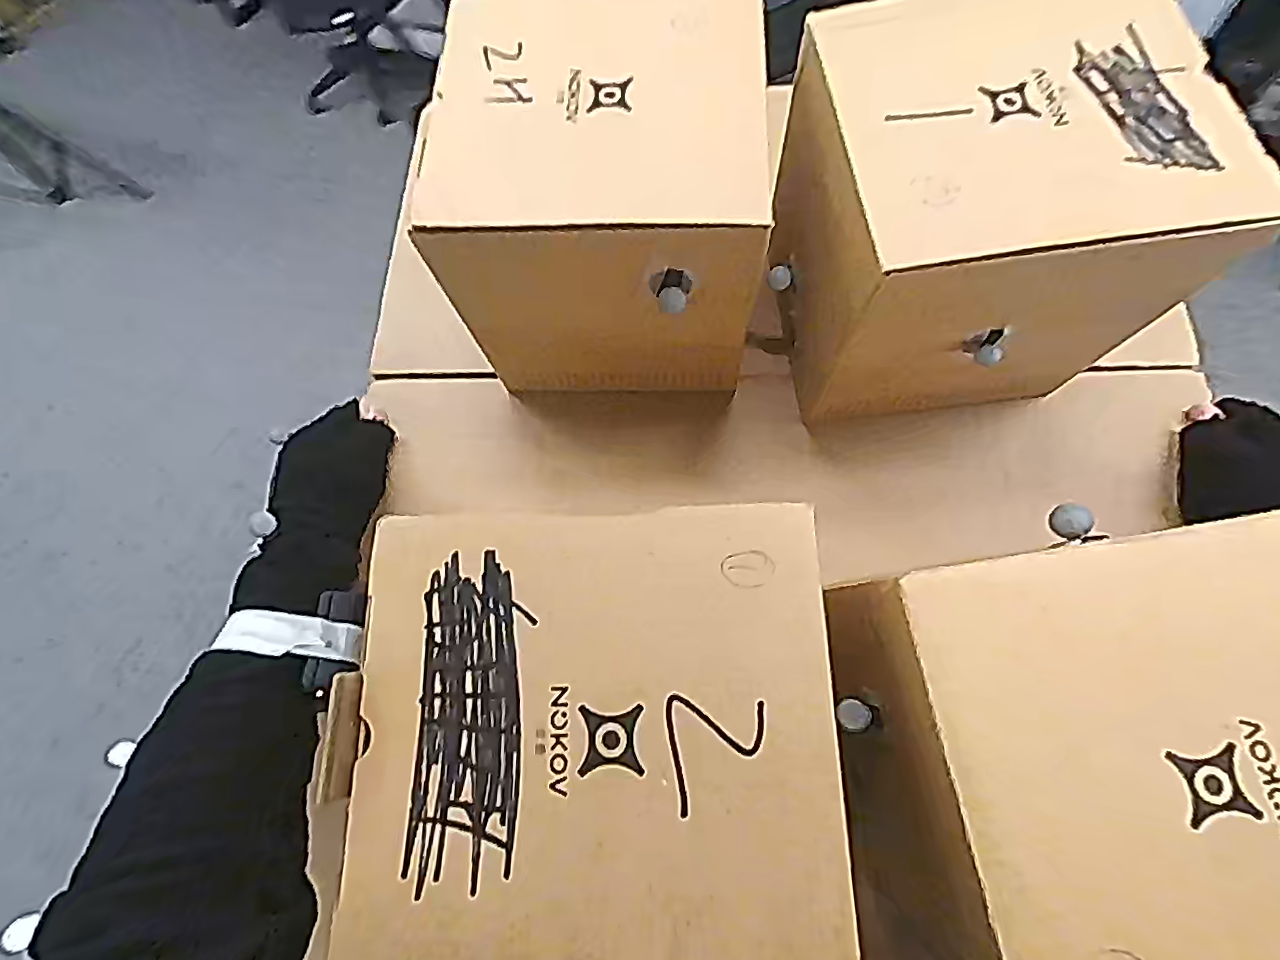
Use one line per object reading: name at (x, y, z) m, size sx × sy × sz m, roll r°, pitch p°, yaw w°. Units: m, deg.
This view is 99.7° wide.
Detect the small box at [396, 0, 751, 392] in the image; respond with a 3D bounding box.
small box at (-0.026, -0.169, 0.360) m, size 0.179 × 0.176 × 0.168 m, roll 1°, pitch 72°, yaw 4°
